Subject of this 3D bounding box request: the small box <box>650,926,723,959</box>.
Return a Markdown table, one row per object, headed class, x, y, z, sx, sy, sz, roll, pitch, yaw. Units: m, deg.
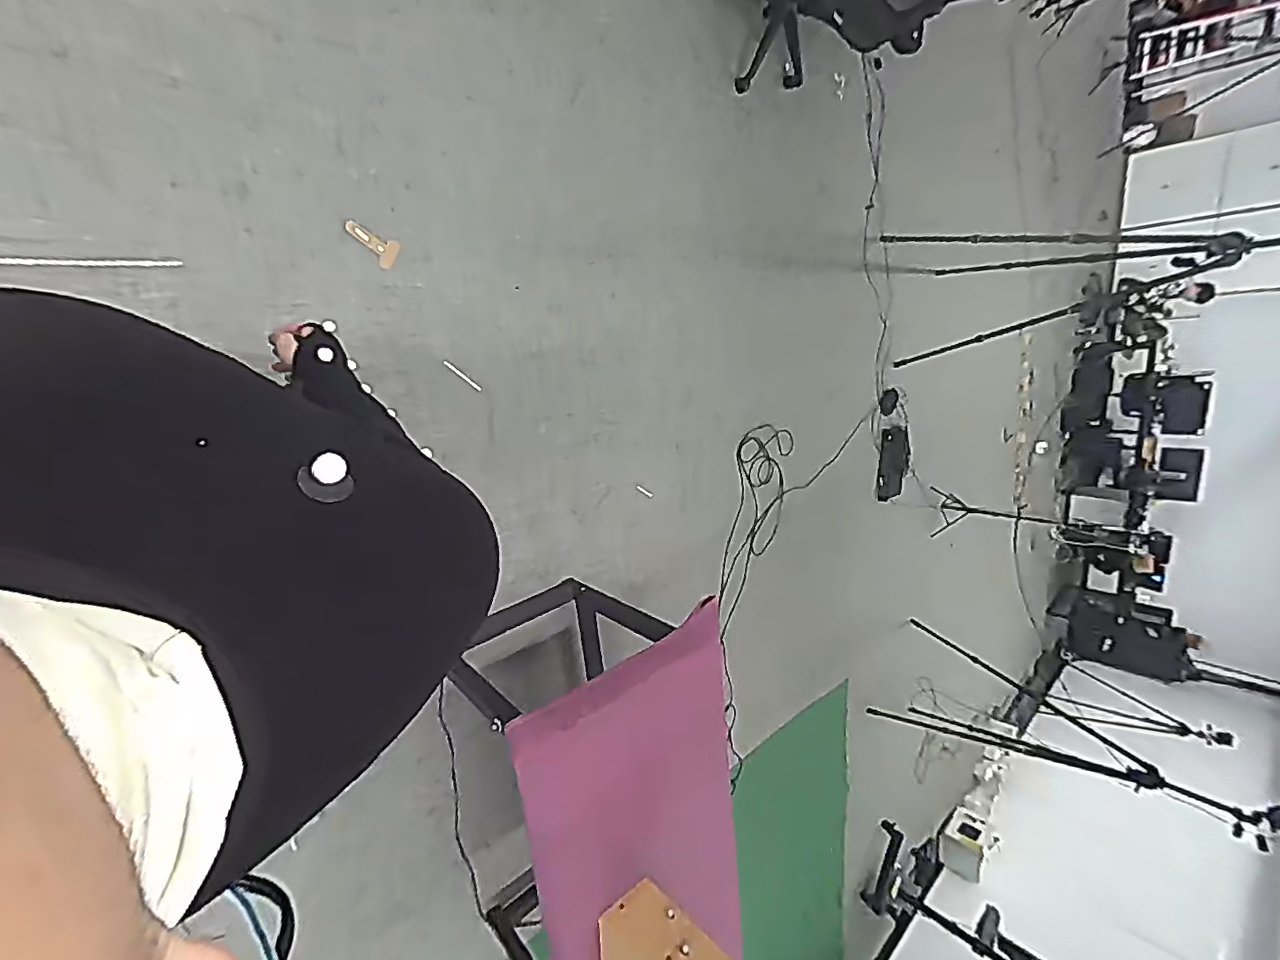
| class | x | y | z | sx | sy | sz | roll | pitch | yaw |
| --- | --- | --- | --- | --- | --- | --- | --- | --- | --- |
| small box | 0.119 | 1.187 | 1.228 | 0.168 | 0.176 | 0.179 | -11 | 105 | -40 |
